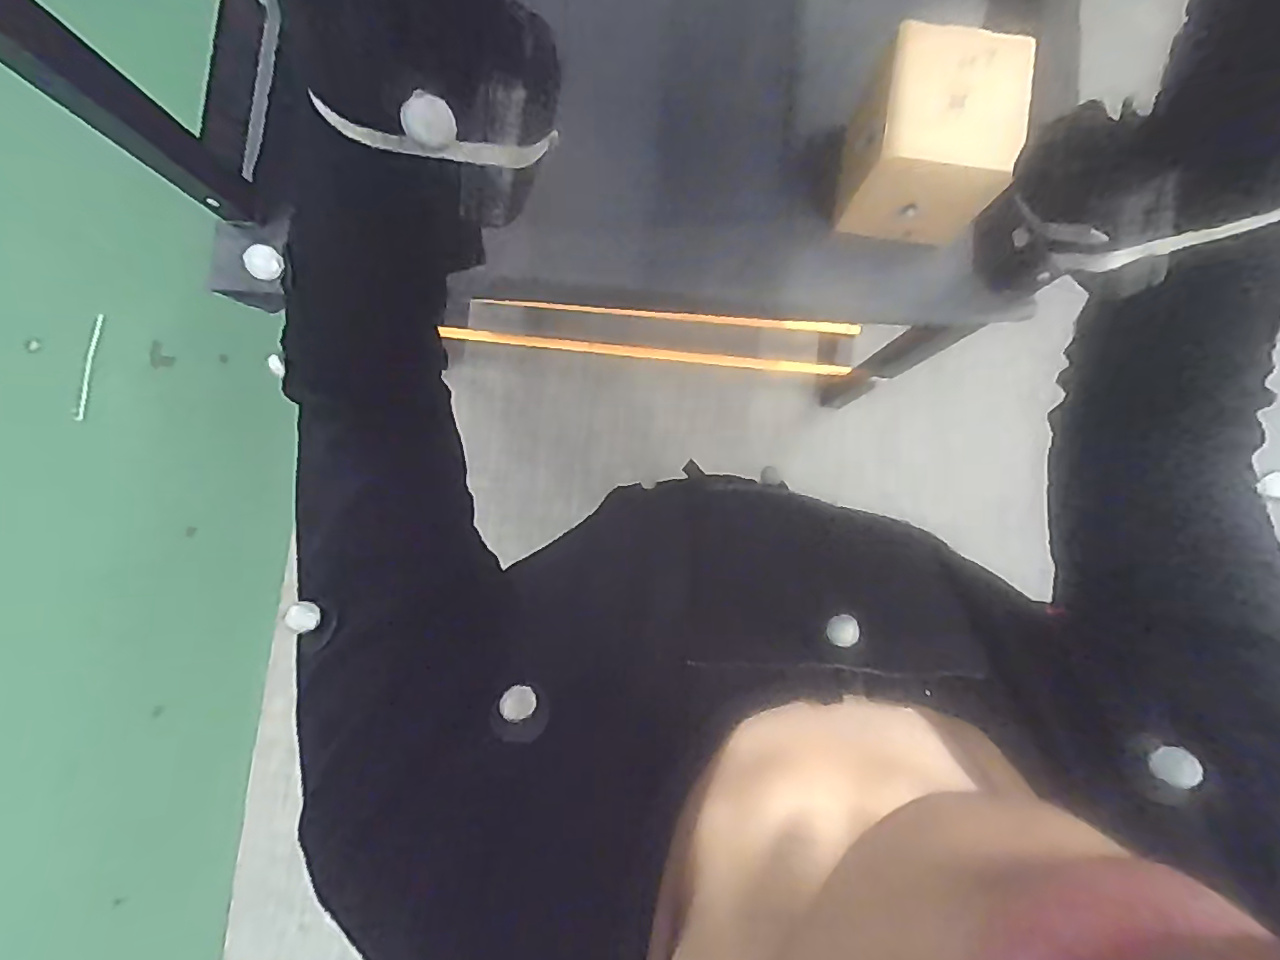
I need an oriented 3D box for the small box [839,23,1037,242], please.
[{"bbox_3d":[0.380,-0.446,0.721,0.168,0.176,0.179,9,85,1],"label":"small box"}]
